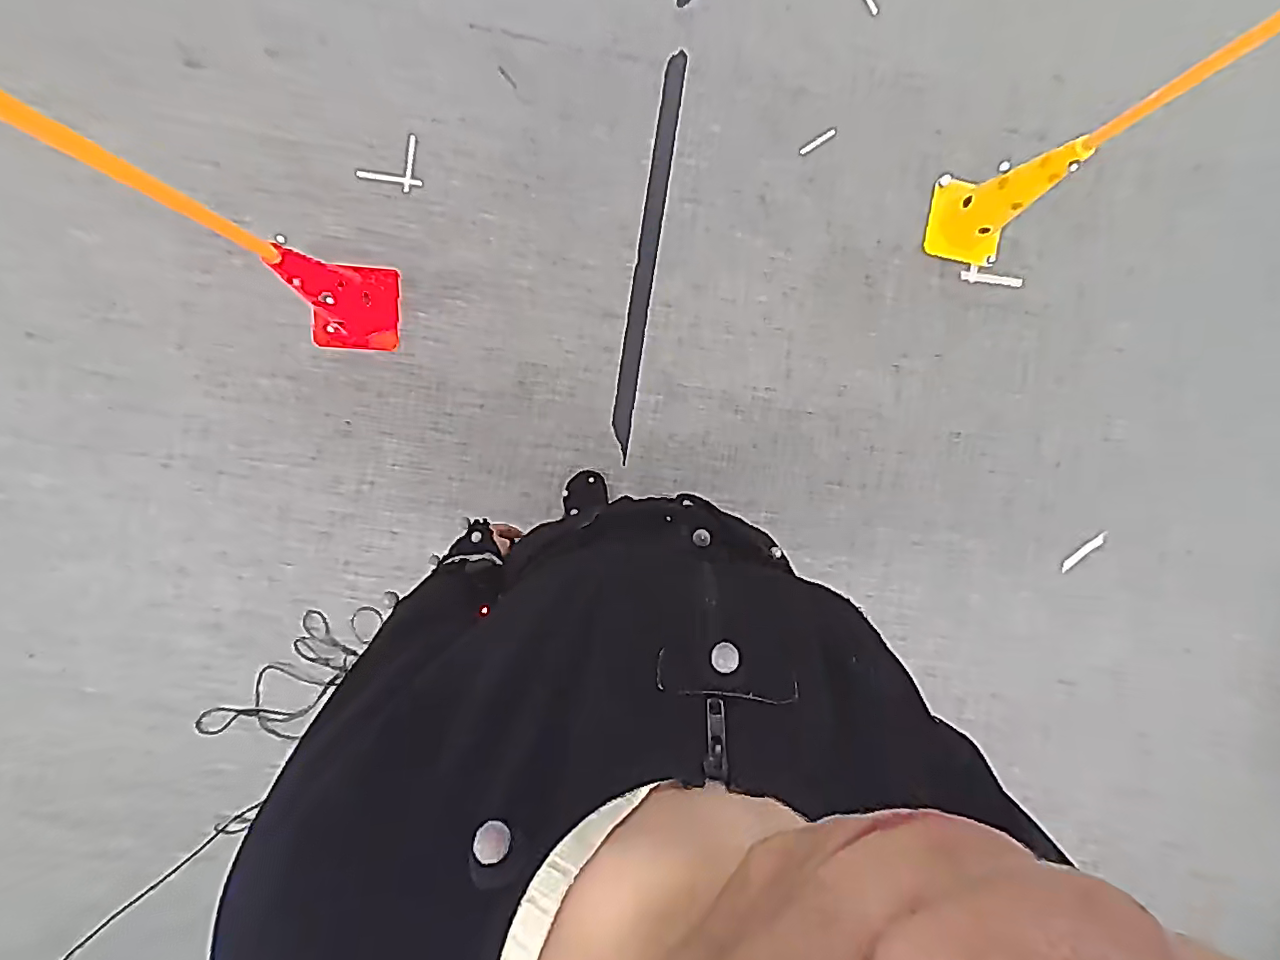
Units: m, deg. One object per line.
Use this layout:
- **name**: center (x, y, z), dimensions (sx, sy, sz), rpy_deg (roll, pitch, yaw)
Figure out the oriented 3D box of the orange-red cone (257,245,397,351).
- **orange-red cone**: center (-0.669, -0.405, 1.123), dimensions (0.199, 0.360, 0.198), rpy_deg (3, 92, -6)
